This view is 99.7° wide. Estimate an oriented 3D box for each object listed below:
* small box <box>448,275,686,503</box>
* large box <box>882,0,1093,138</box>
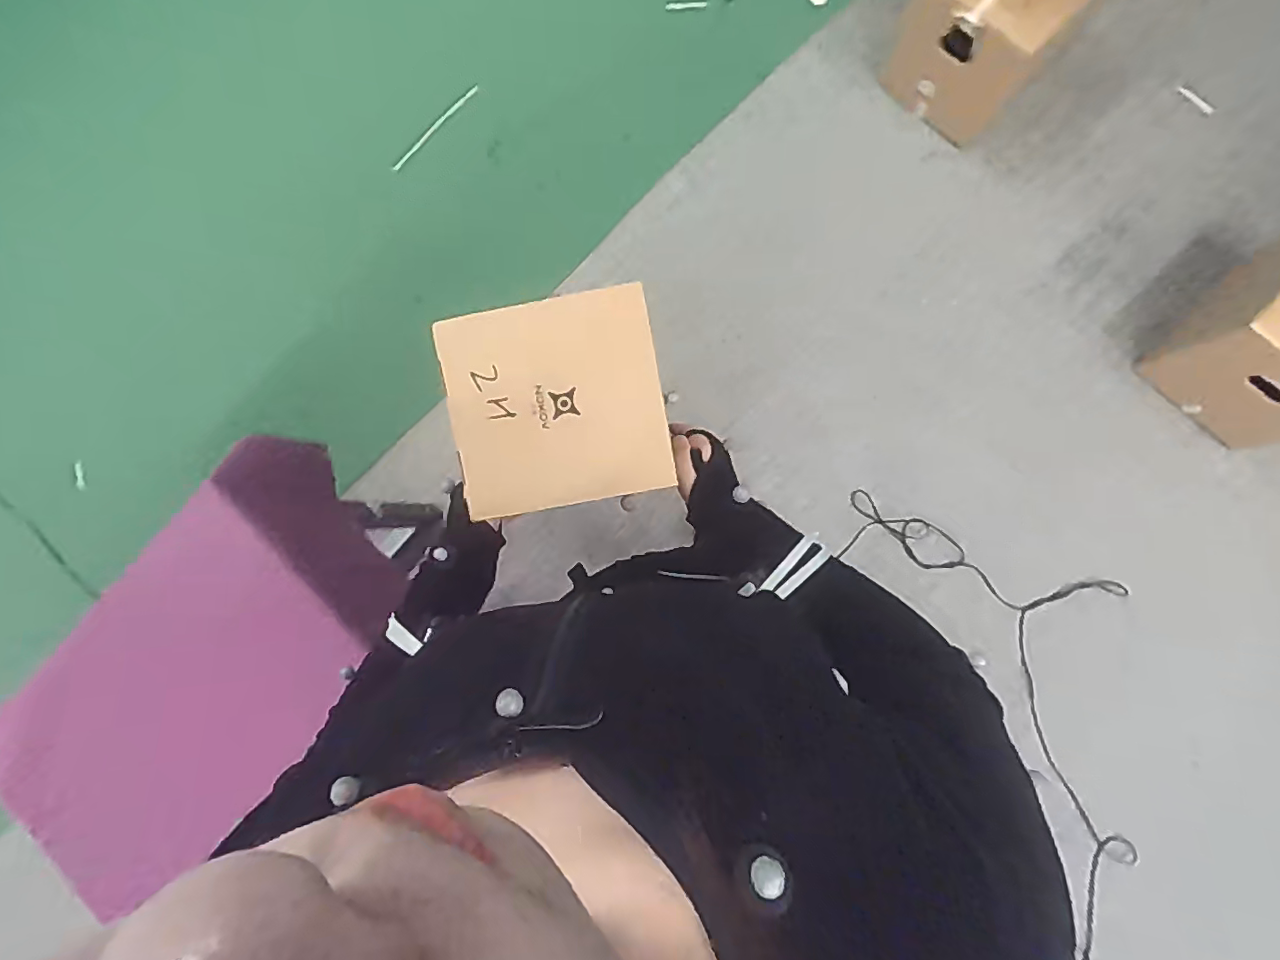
[{"bbox_3d":[-0.056,-0.079,0.519,0.179,0.176,0.168,-9,94,4],"label":"small box"},{"bbox_3d":[0.895,-1.178,1.338,0.408,0.320,0.320,-45,83,1],"label":"large box"}]
